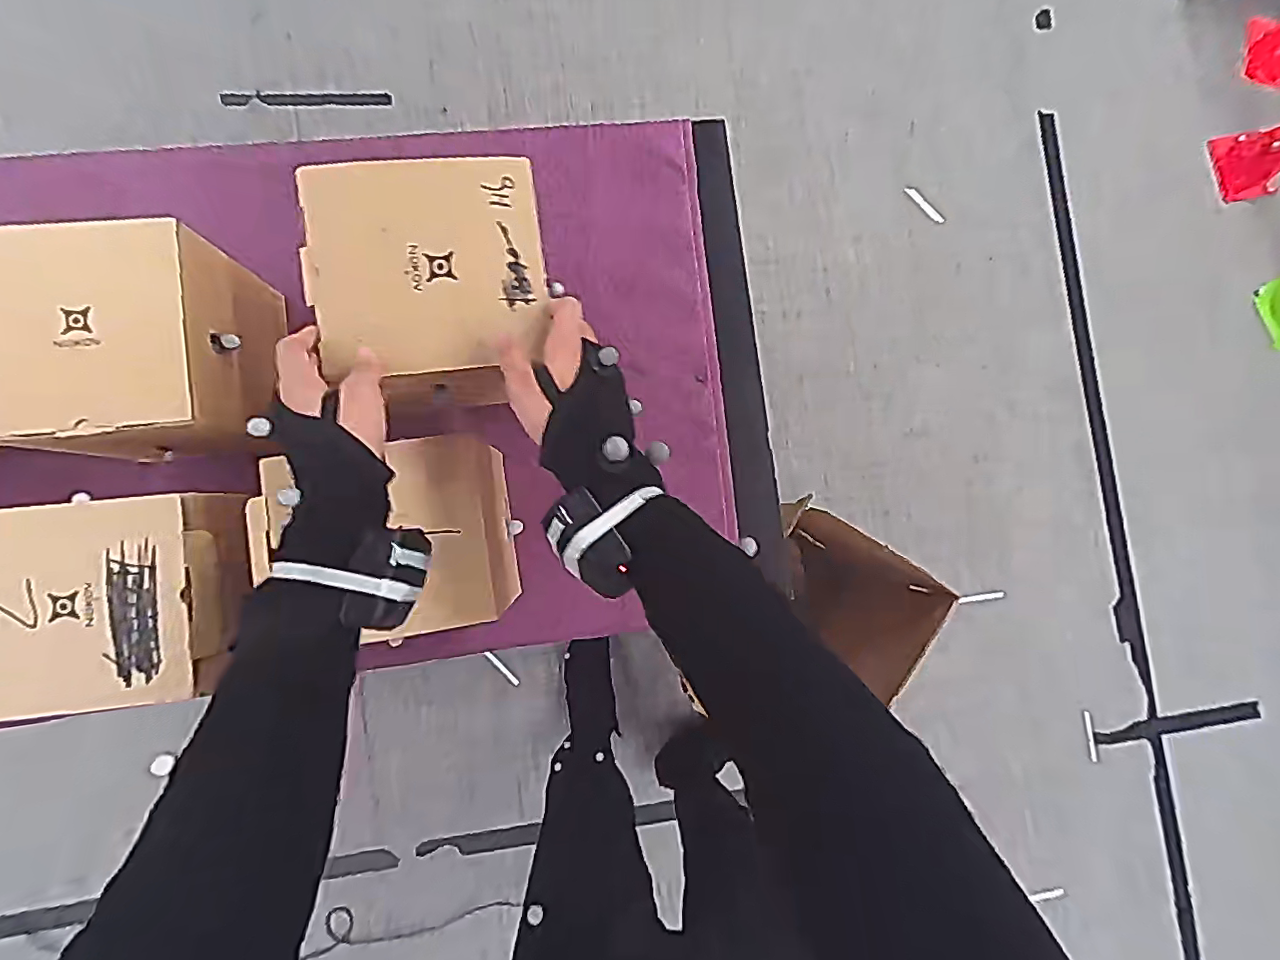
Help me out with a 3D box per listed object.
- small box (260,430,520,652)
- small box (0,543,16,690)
[{"bbox_3d":[-0.224,0.054,0.528,0.179,0.176,0.168,-9,88,-7],"label":"small box"},{"bbox_3d":[-0.726,0.145,0.469,0.179,0.176,0.168,-7,88,-7],"label":"small box"}]
